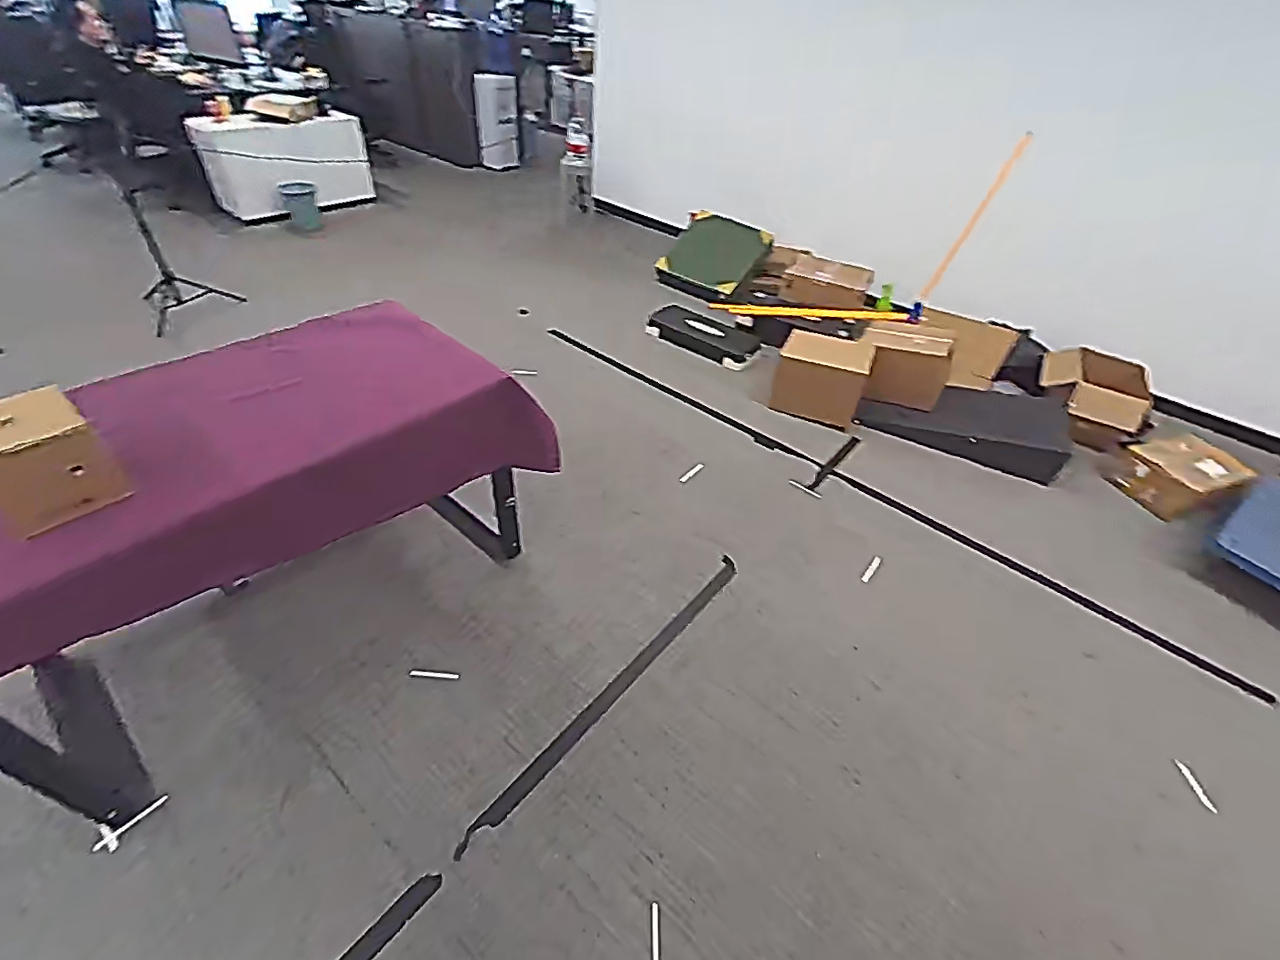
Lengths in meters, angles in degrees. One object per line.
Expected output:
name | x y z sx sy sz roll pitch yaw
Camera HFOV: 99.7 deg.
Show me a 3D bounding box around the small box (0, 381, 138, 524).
small box | -1.062 -0.046 0.971 0.179 0.176 0.168 33 48 26
